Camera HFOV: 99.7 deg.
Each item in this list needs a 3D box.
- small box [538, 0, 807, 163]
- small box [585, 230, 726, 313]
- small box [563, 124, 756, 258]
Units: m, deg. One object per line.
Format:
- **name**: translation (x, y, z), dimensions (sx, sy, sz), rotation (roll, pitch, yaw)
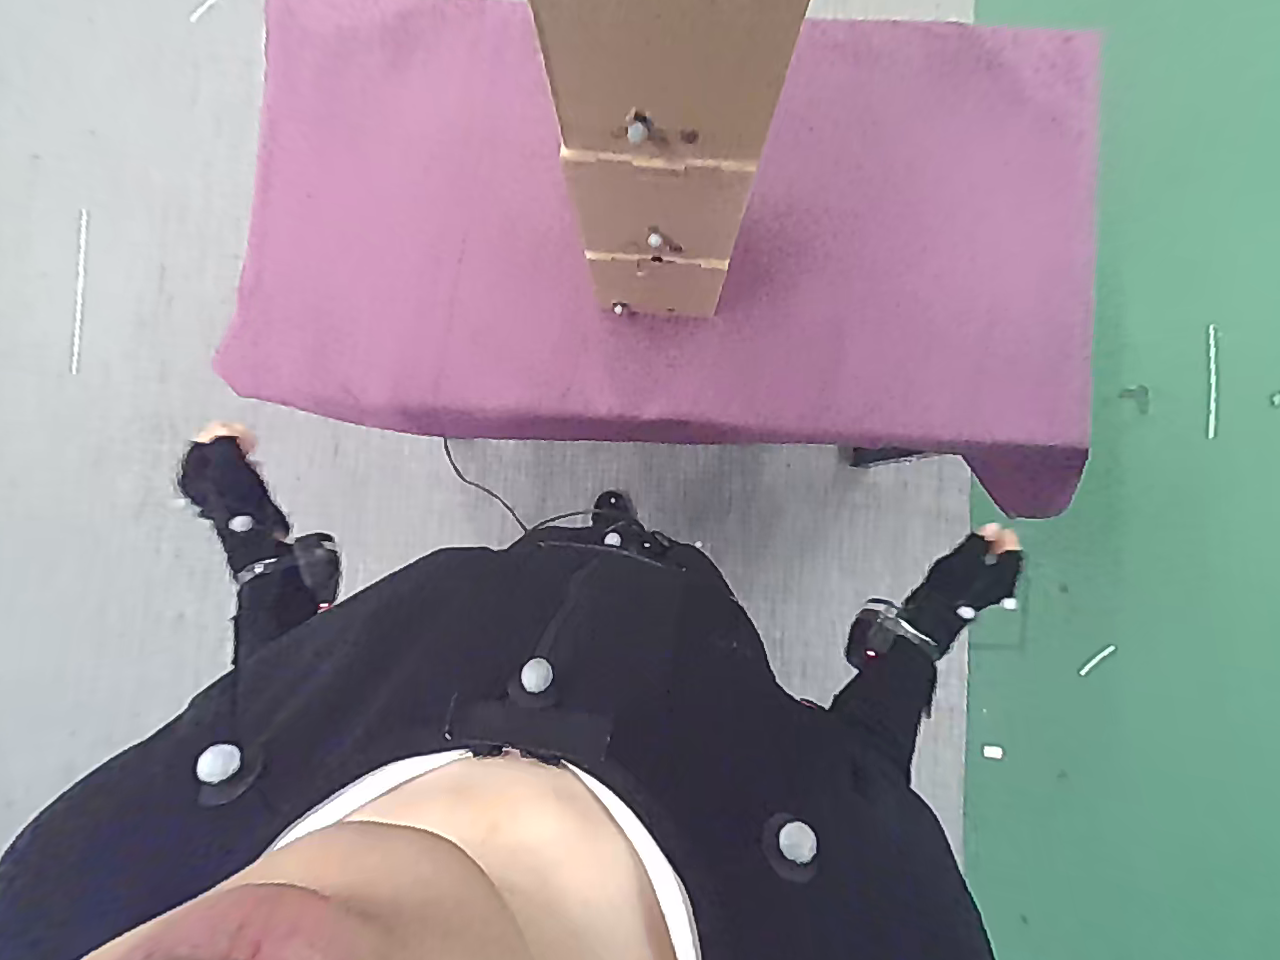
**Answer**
- **small box**: translation (0.022, -0.361, 0.375), dimensions (0.168, 0.176, 0.179), rotation (4, 87, 2)
- **small box**: translation (0.027, -0.331, 0.701), dimensions (0.168, 0.176, 0.179), rotation (5, 87, 1)
- **small box**: translation (0.024, -0.348, 0.538), dimensions (0.168, 0.176, 0.179), rotation (5, 87, 2)
